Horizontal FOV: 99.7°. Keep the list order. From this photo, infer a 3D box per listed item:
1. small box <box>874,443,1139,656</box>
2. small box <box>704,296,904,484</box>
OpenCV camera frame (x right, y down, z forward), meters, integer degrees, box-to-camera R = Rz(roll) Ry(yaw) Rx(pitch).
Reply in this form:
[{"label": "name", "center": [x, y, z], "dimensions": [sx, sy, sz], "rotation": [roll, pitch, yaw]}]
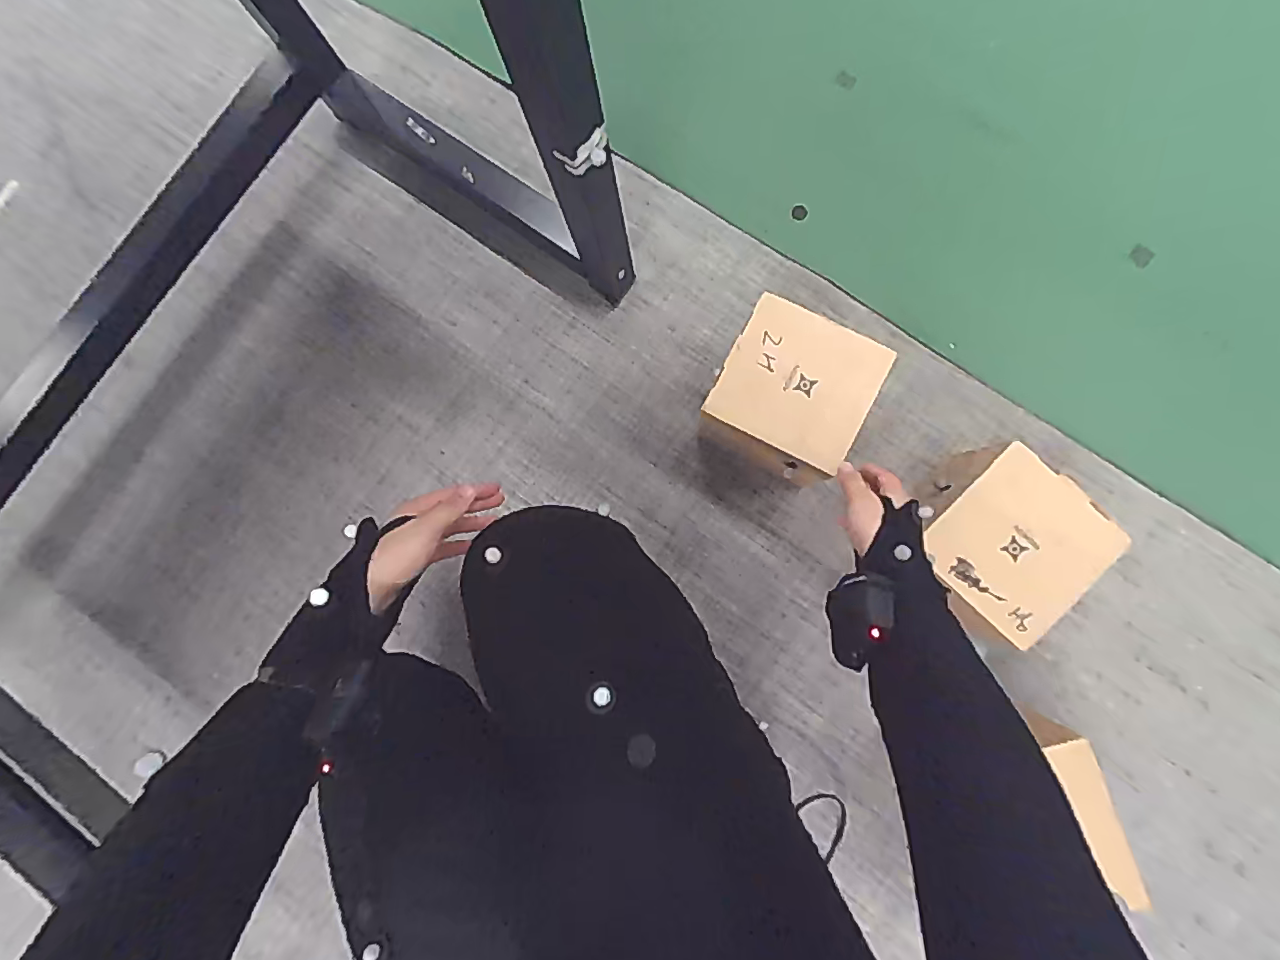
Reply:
[{"label": "small box", "center": [0.428, 0.080, 0.670], "dimensions": [0.179, 0.176, 0.168], "rotation": [-45, 84, 0]}, {"label": "small box", "center": [0.198, -0.103, 0.706], "dimensions": [0.179, 0.176, 0.168], "rotation": [28, 87, 7]}]
